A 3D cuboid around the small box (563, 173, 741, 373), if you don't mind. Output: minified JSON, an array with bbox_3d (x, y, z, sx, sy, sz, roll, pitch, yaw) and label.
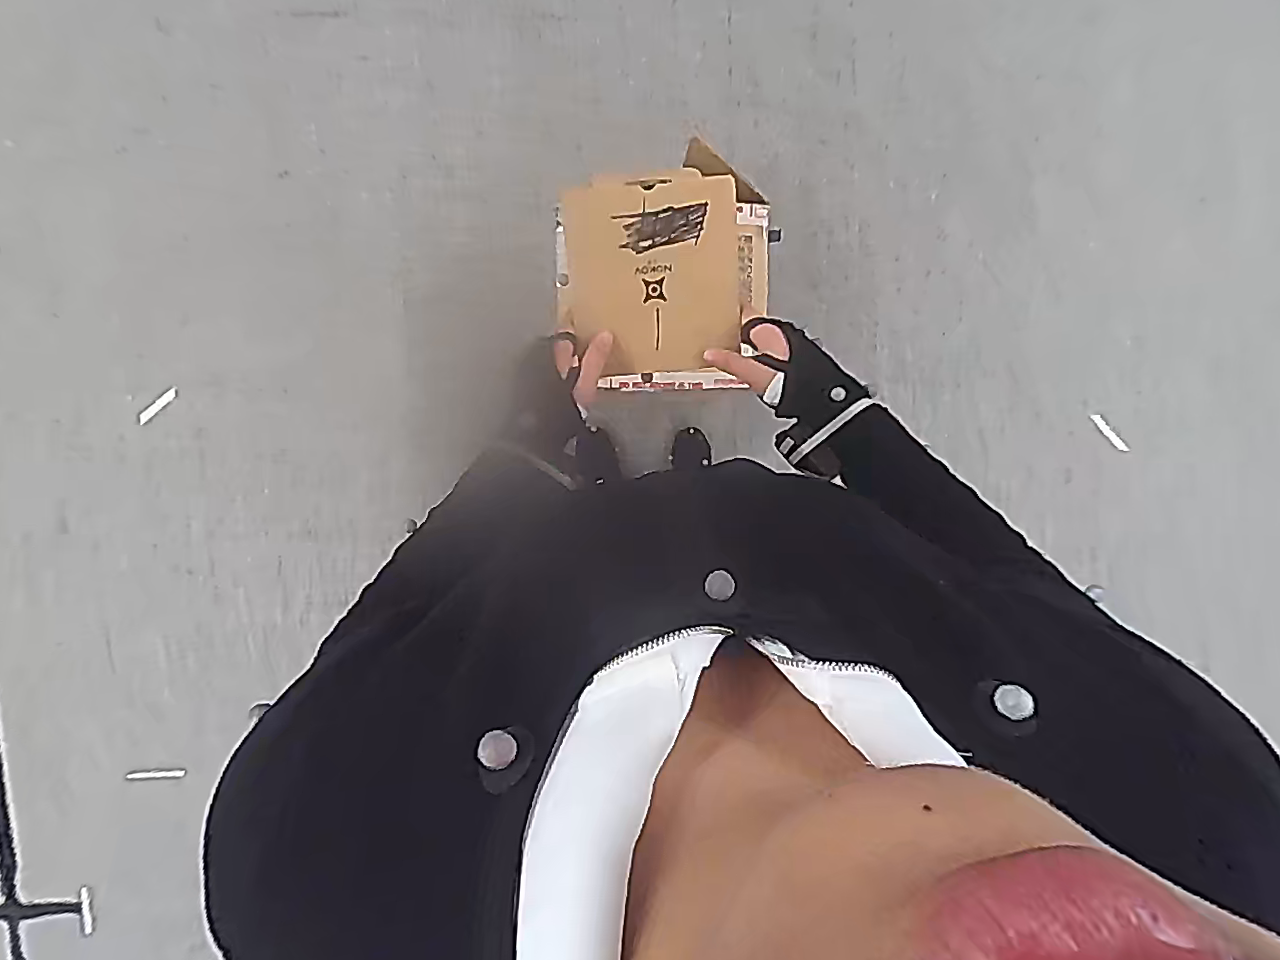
[{"bbox_3d":[0.009,-0.215,0.597,0.168,0.176,0.179,-6,105,-2],"label":"small box"}]
